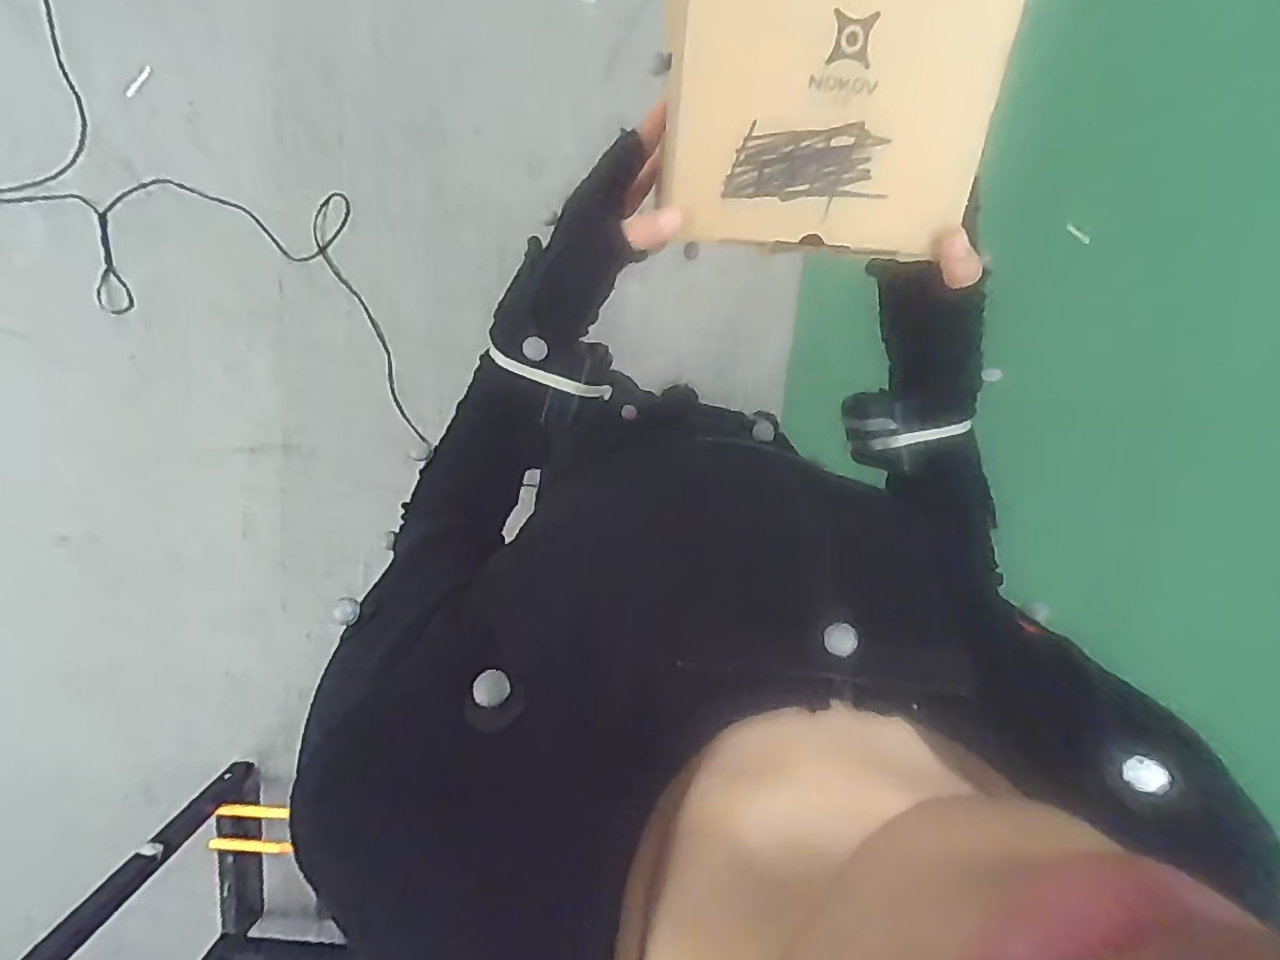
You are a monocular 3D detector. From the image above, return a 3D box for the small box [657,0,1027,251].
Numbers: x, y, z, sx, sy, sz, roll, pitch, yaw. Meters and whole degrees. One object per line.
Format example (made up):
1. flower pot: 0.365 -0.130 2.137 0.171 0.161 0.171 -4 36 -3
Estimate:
1. small box: 0.101 -0.246 0.339 0.168 0.176 0.179 3 114 -4
